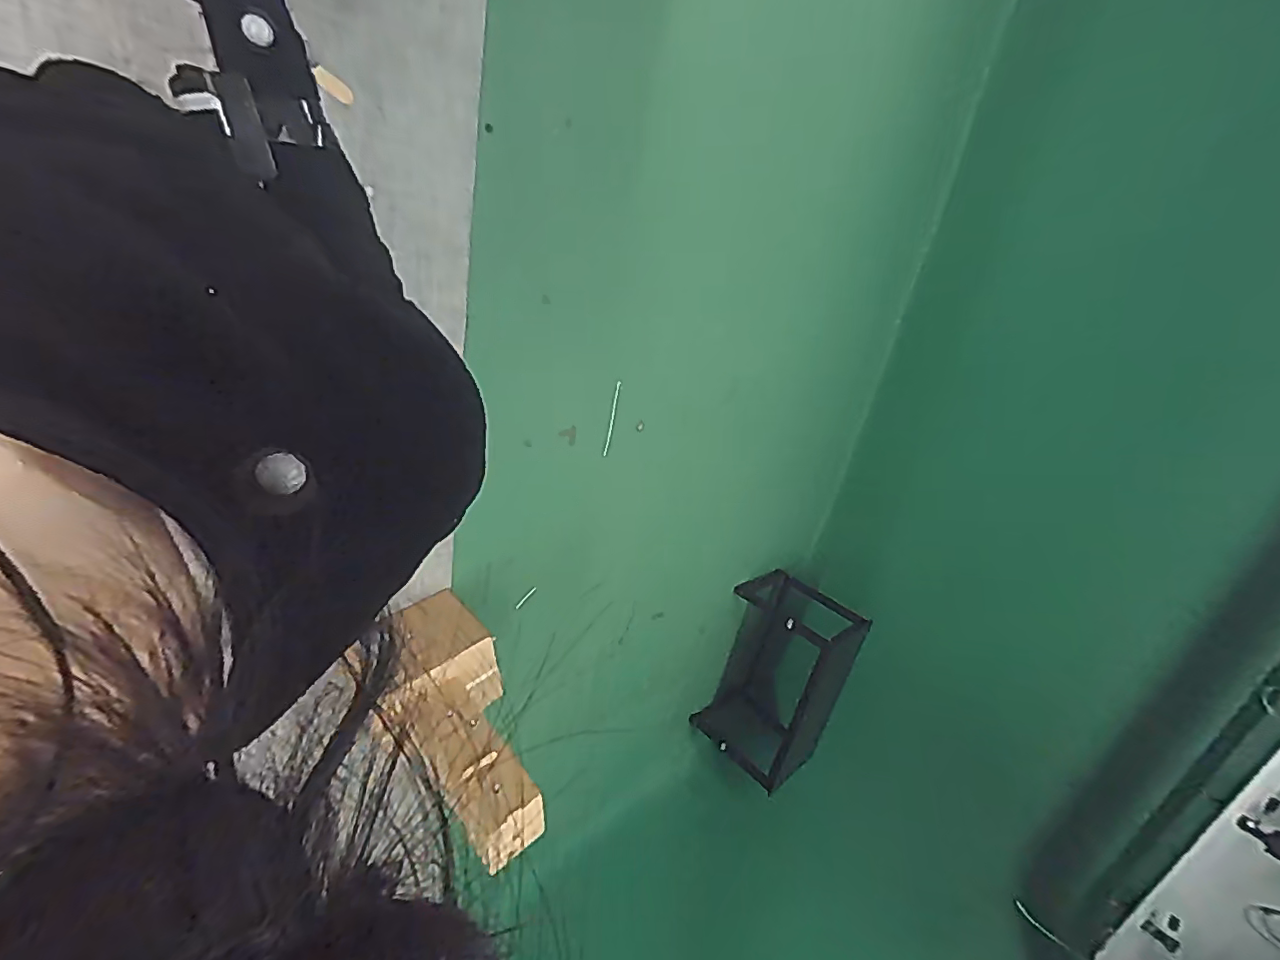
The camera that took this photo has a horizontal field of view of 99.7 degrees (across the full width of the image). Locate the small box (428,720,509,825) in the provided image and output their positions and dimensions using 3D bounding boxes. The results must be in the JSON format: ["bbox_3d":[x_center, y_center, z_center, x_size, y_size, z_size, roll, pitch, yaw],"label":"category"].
[{"bbox_3d":[-0.487,0.819,1.540,0.168,0.176,0.179,-21,127,-38],"label":"small box"}]

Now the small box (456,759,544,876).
[{"bbox_3d":[-0.373,0.885,1.442,0.168,0.176,0.179,-22,126,-37],"label":"small box"}]

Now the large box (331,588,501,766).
[{"bbox_3d":[-0.737,0.640,1.812,0.408,0.320,0.320,-27,133,-36],"label":"large box"}]

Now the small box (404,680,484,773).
[{"bbox_3d":[-0.591,0.748,1.645,0.179,0.176,0.168,-22,127,-37],"label":"small box"}]
